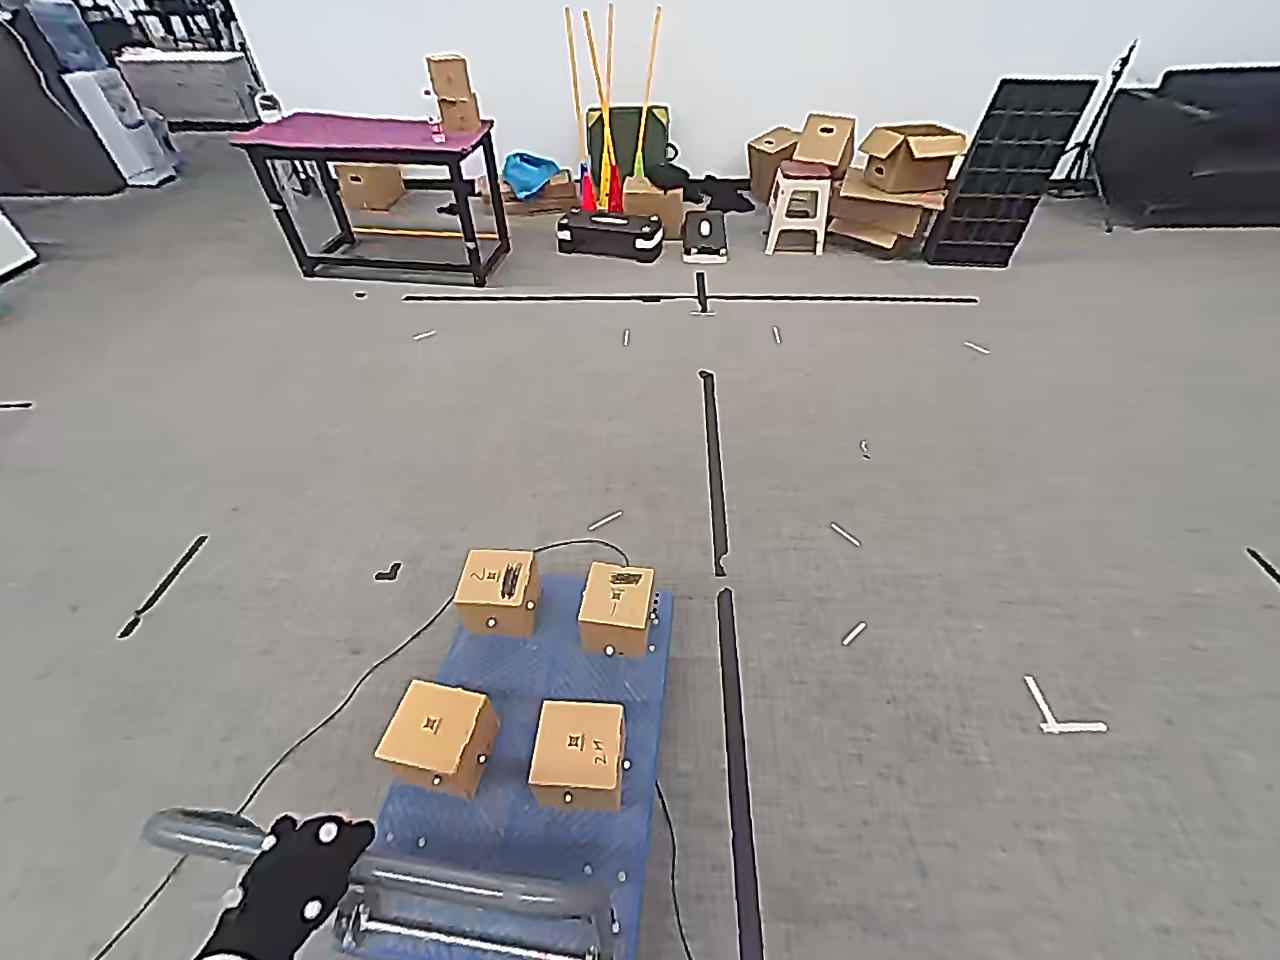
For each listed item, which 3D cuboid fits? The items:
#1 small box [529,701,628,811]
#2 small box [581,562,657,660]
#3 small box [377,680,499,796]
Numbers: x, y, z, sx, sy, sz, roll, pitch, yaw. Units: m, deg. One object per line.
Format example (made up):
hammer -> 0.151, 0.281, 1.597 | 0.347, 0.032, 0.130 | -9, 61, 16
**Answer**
small box -> -0.122, 0.592, 1.156 | 0.179, 0.176, 0.168 | 3, 45, 3
small box -> -0.051, 0.340, 1.406 | 0.168, 0.176, 0.179 | 6, 47, 6
small box -> -0.430, 0.567, 1.184 | 0.179, 0.176, 0.168 | 10, 45, 7
